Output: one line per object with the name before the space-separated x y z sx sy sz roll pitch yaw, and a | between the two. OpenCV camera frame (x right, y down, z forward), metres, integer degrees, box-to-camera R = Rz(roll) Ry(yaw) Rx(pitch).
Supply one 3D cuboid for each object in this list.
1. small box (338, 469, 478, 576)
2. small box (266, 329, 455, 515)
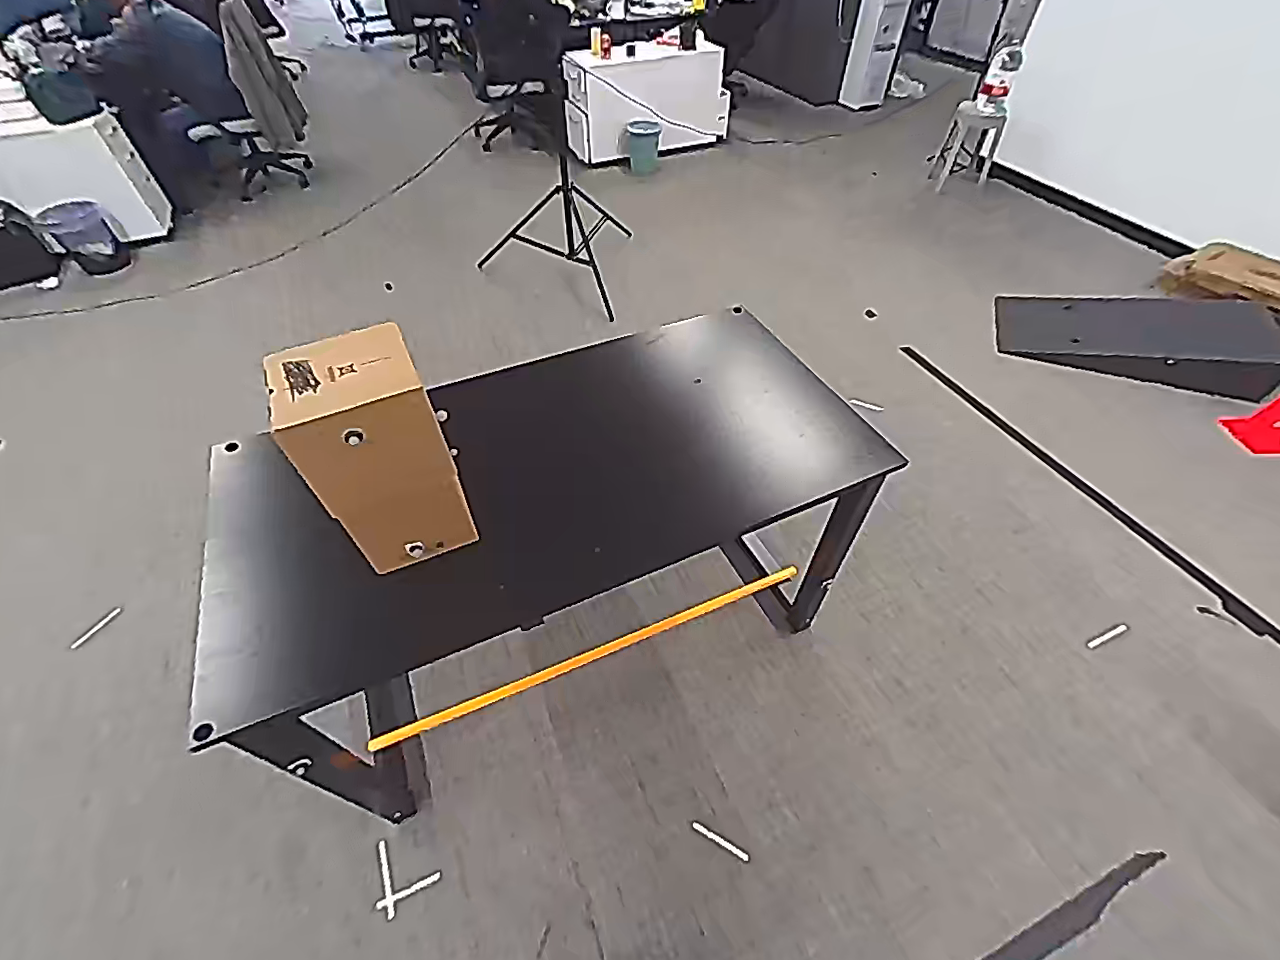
small box | -0.384 0.025 0.887 0.168 0.176 0.179 -22 53 -16
small box | -0.385 -0.078 0.759 0.179 0.176 0.168 -22 52 -17
